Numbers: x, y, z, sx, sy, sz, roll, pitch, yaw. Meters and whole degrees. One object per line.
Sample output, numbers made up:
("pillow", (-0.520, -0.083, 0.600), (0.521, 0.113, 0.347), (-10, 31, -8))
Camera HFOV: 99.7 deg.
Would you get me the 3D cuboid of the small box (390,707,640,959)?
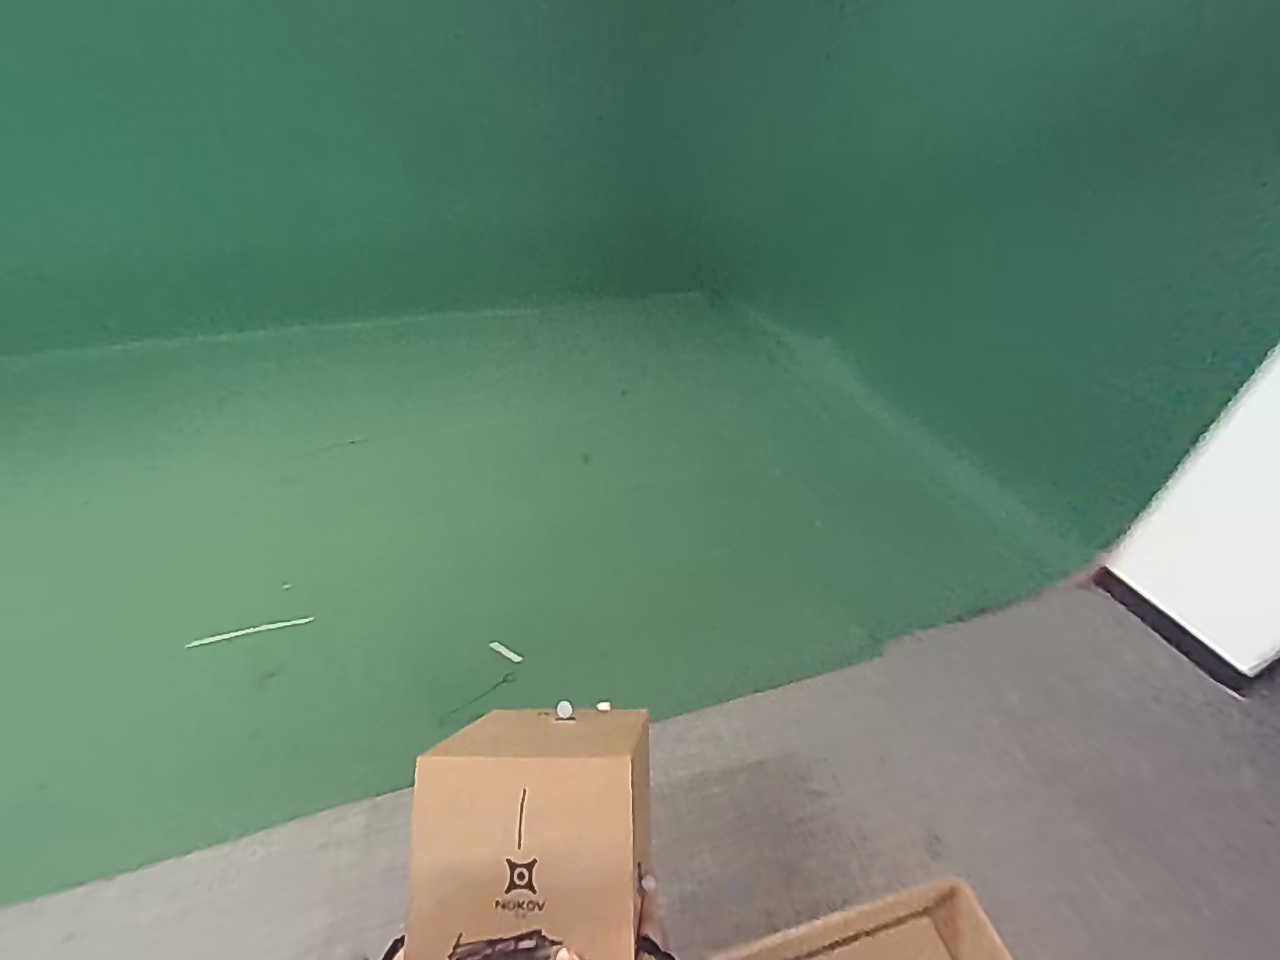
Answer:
("small box", (-0.089, 0.305, 0.464), (0.168, 0.176, 0.179), (-3, 77, 4))
